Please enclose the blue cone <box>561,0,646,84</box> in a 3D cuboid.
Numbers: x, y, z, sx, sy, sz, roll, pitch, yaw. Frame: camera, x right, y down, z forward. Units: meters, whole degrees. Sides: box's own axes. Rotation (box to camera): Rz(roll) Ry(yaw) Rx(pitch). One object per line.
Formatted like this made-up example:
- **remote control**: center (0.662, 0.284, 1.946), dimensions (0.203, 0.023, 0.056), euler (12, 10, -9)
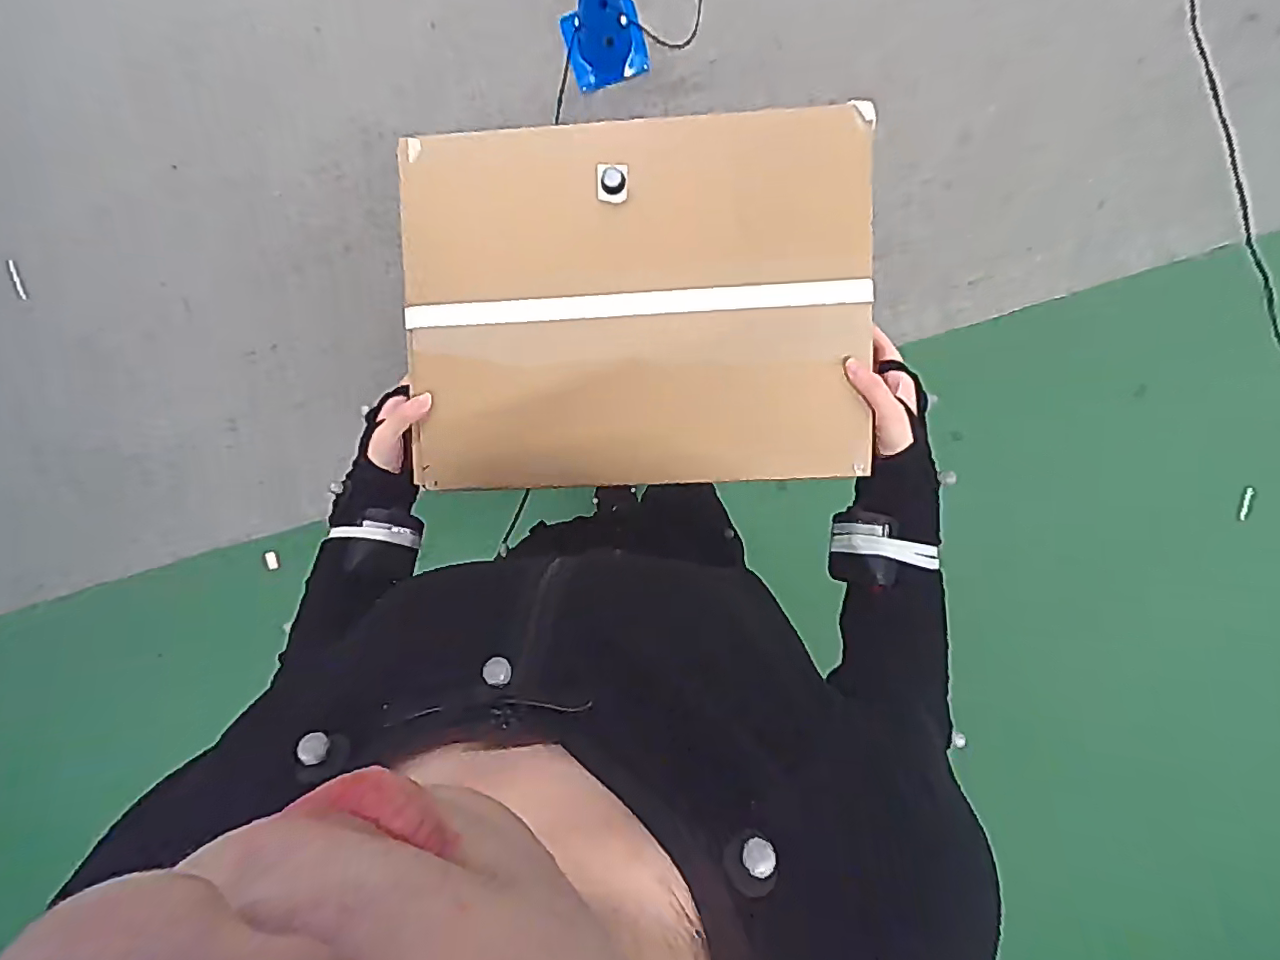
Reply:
- **blue cone**: center (-0.098, -1.118, 1.224), dimensions (0.193, 0.380, 0.192), euler (-19, 94, 4)
